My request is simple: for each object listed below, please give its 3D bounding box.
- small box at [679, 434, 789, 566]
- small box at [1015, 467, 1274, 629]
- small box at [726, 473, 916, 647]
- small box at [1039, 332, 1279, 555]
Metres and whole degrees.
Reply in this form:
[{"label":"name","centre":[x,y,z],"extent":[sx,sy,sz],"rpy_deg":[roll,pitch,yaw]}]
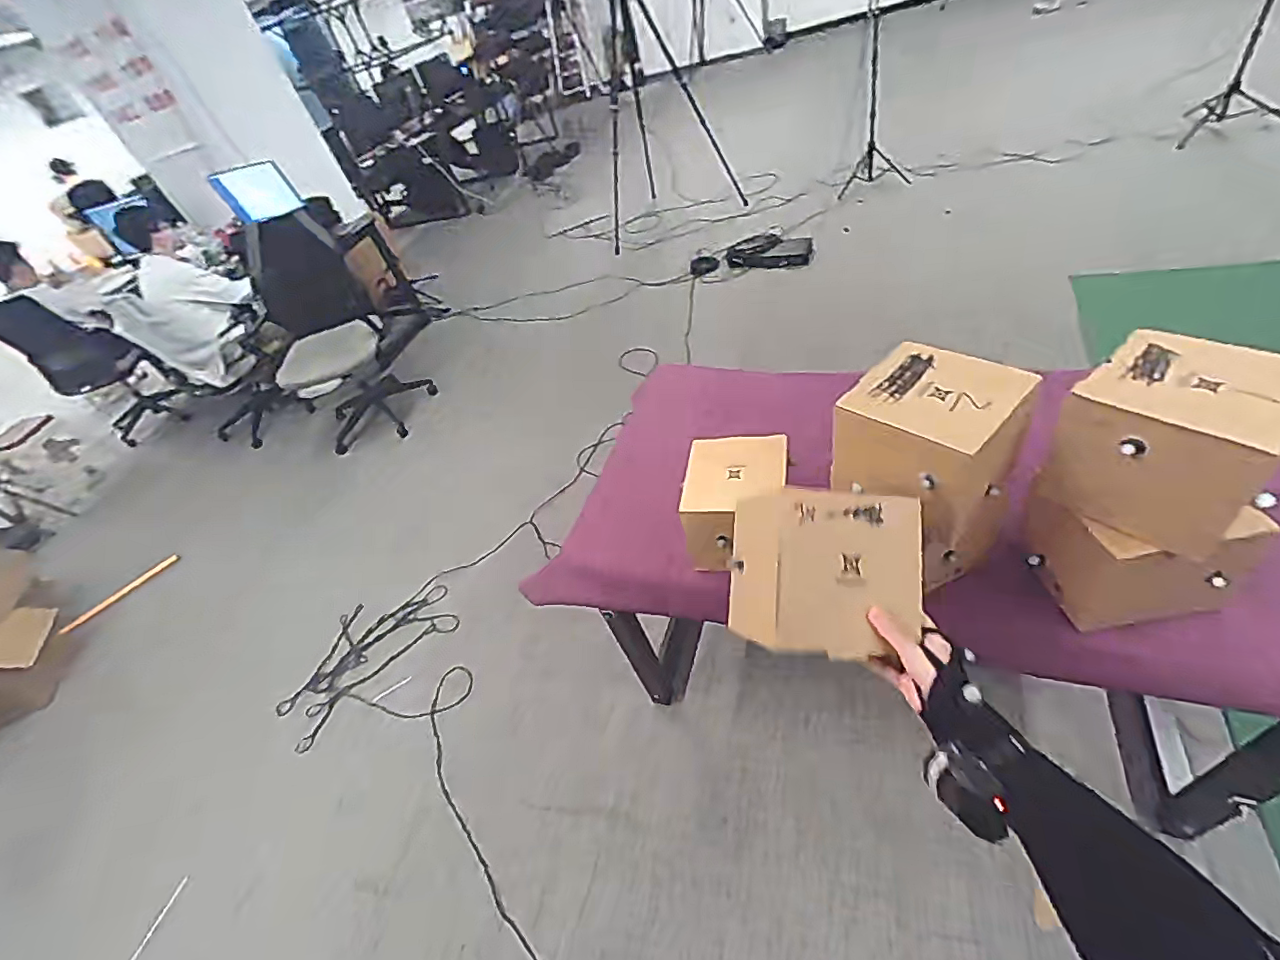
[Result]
[{"label":"small box","centre":[0.176,0.041,0.946],"extent":[0.168,0.176,0.179],"rpy_deg":[-2,45,18]},{"label":"small box","centre":[0.656,0.079,0.736],"extent":[0.179,0.176,0.168],"rpy_deg":[-13,42,8]},{"label":"small box","centre":[0.210,0.095,0.667],"extent":[0.168,0.176,0.179],"rpy_deg":[7,83,-6]},{"label":"small box","centre":[0.617,-0.044,0.635],"extent":[0.168,0.176,0.179],"rpy_deg":[-34,44,-18]}]
